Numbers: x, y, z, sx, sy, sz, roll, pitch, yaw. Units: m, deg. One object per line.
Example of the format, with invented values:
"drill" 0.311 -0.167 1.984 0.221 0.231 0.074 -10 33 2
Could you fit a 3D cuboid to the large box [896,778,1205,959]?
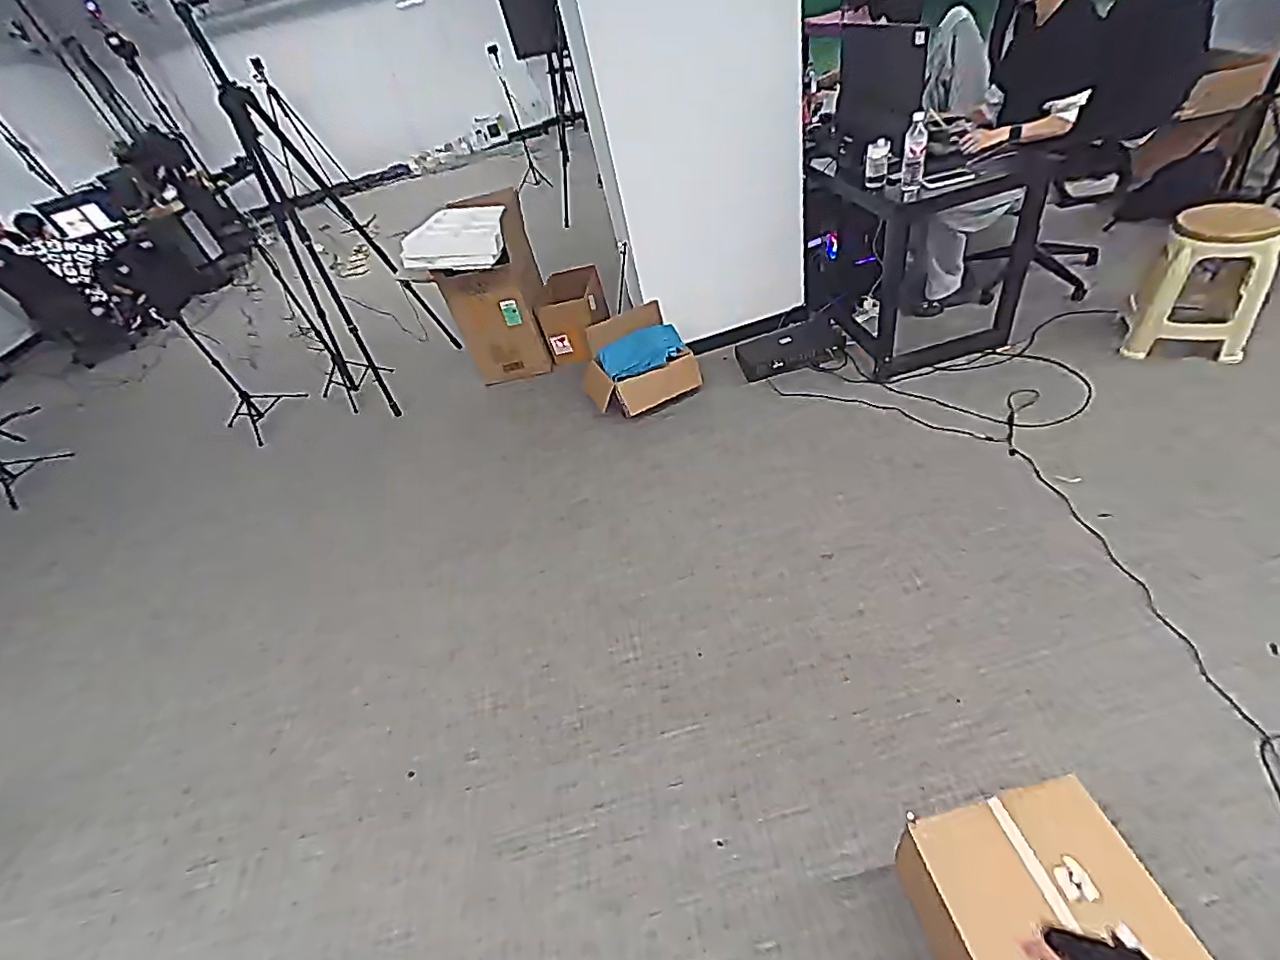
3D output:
"large box" 0.696 0.811 0.922 0.320 0.320 0.408 -16 40 0
